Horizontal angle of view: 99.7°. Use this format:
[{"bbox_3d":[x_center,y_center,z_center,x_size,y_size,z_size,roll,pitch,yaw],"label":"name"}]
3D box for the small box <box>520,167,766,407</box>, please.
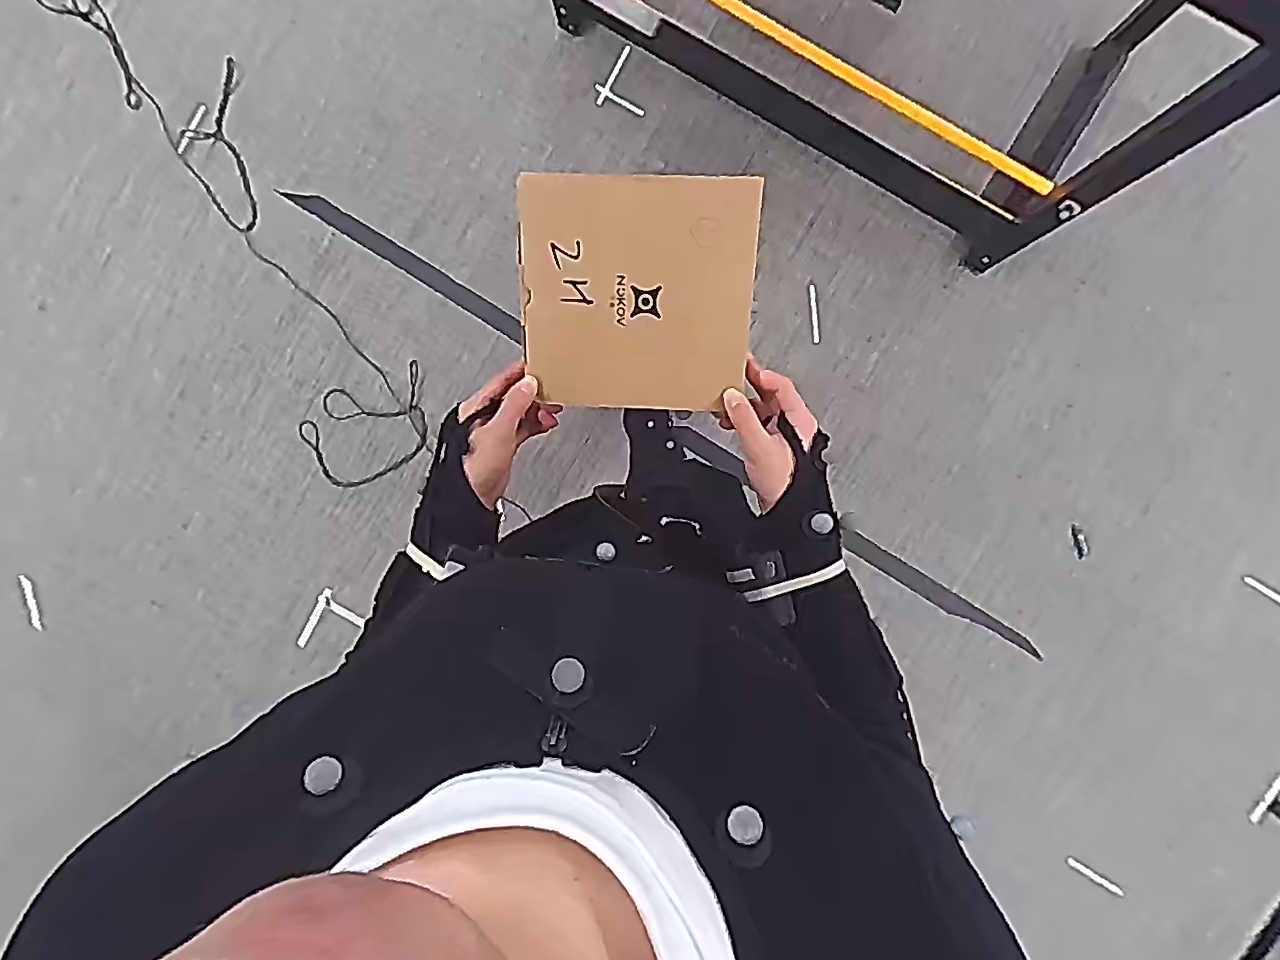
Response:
[{"bbox_3d":[0.004,-0.167,0.480,0.179,0.176,0.168,4,110,4],"label":"small box"}]
